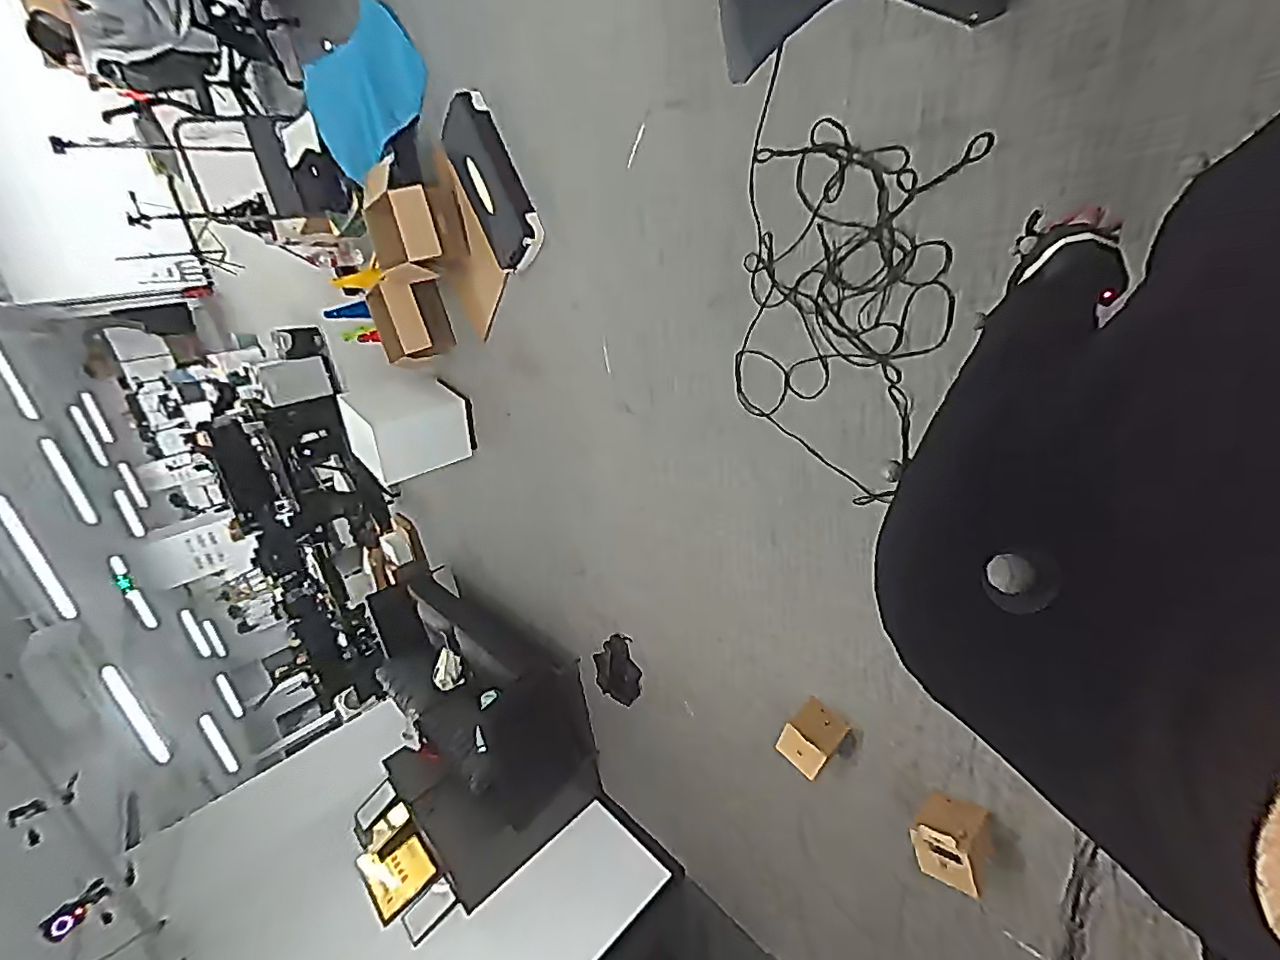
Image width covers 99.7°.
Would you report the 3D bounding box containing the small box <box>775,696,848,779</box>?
[{"bbox_3d":[0.622,0.927,1.958,0.168,0.176,0.179,36,135,34],"label":"small box"}]
